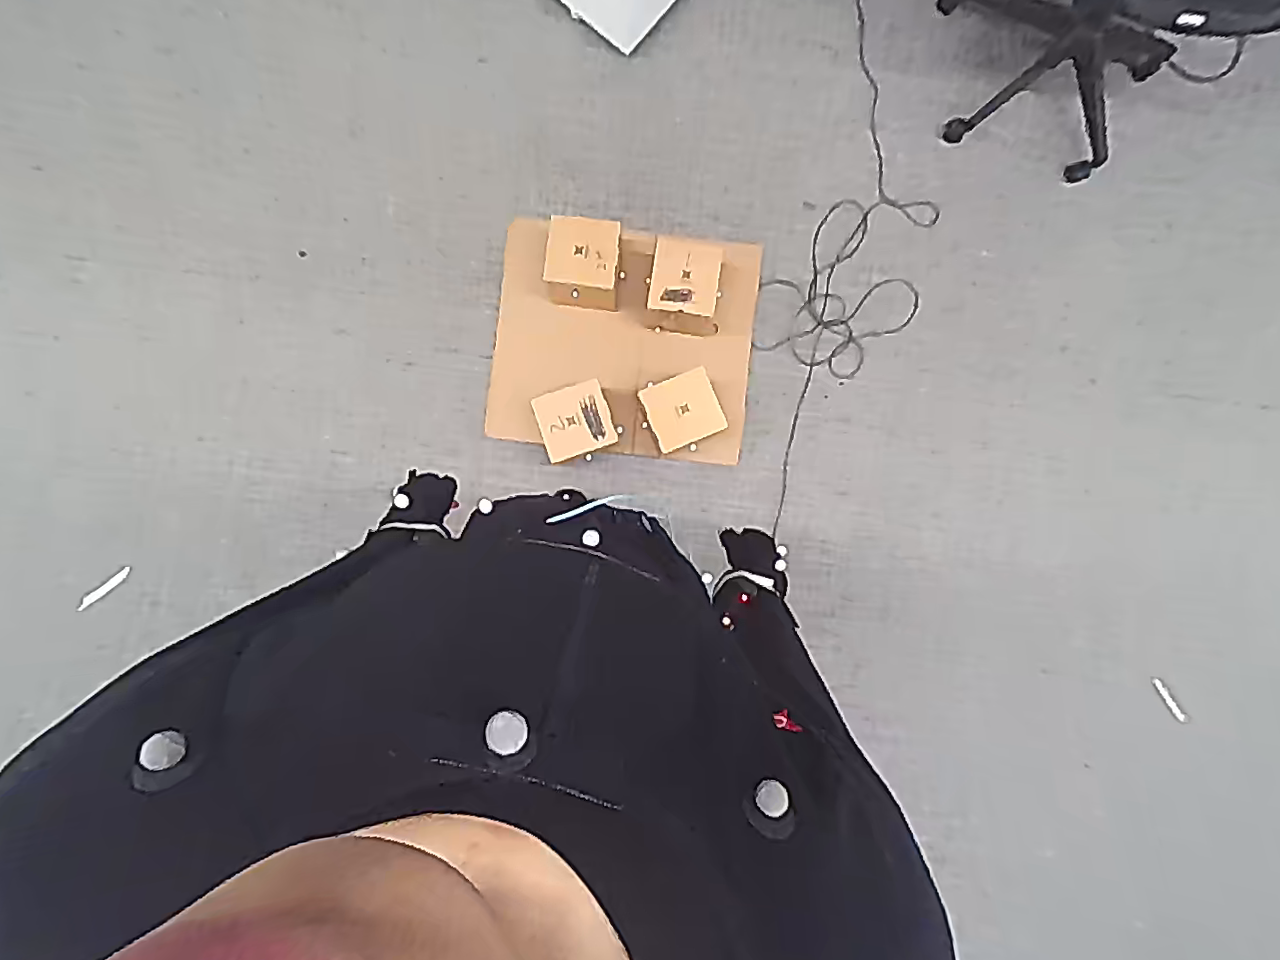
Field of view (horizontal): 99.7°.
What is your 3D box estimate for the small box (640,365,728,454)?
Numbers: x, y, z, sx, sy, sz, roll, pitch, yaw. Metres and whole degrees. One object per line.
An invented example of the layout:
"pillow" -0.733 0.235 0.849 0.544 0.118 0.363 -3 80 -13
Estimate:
"small box" 0.107 -0.176 1.401 0.179 0.176 0.168 -23 89 1
